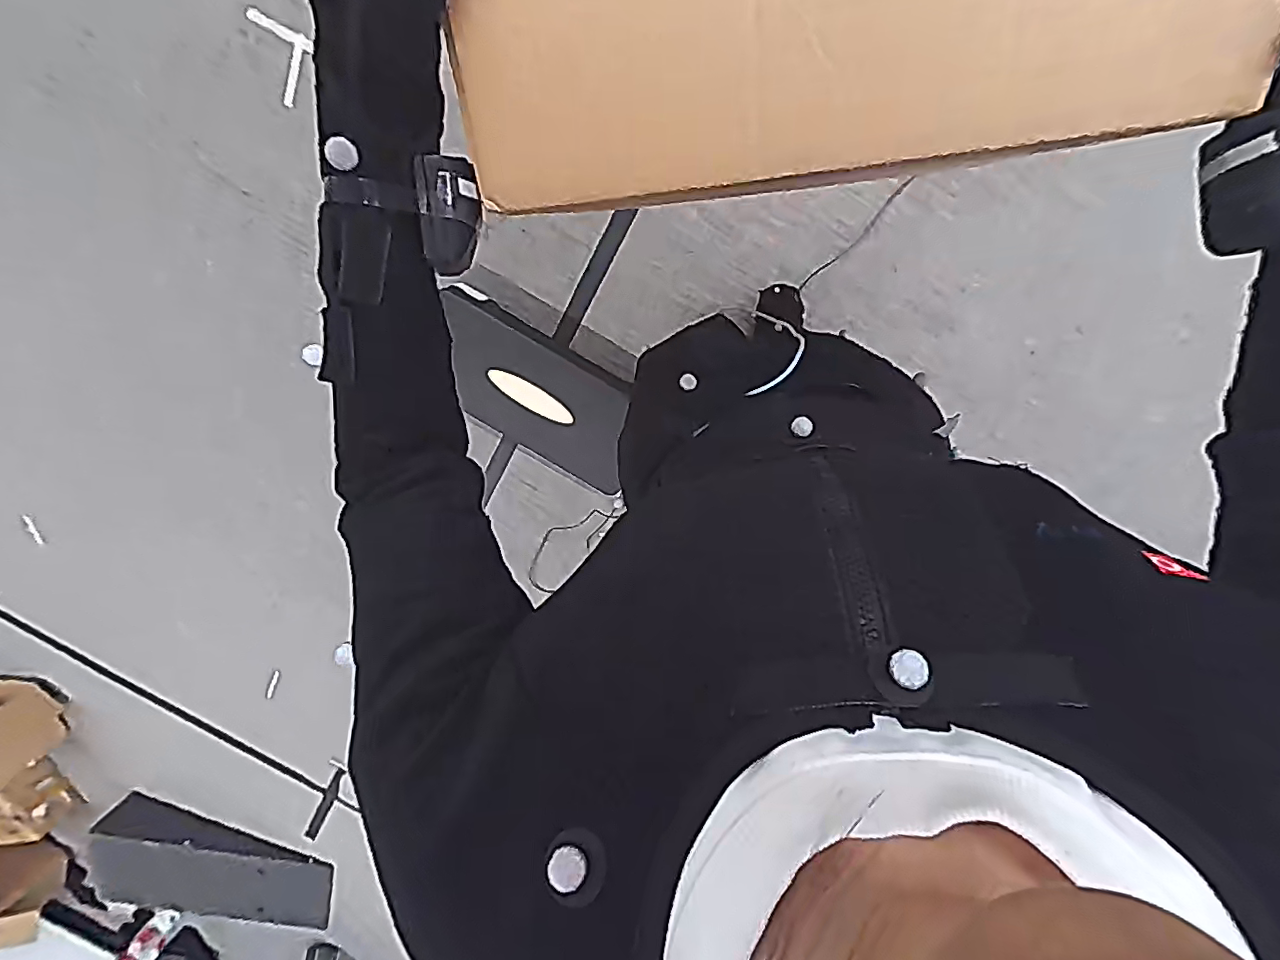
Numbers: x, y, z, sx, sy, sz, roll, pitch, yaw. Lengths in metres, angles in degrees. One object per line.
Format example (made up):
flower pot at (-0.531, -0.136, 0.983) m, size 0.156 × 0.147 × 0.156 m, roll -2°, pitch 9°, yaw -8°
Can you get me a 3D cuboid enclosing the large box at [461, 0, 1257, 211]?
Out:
large box at (0.105, -0.388, 0.378) m, size 0.408 × 0.320 × 0.320 m, roll -3°, pitch 116°, yaw 9°
